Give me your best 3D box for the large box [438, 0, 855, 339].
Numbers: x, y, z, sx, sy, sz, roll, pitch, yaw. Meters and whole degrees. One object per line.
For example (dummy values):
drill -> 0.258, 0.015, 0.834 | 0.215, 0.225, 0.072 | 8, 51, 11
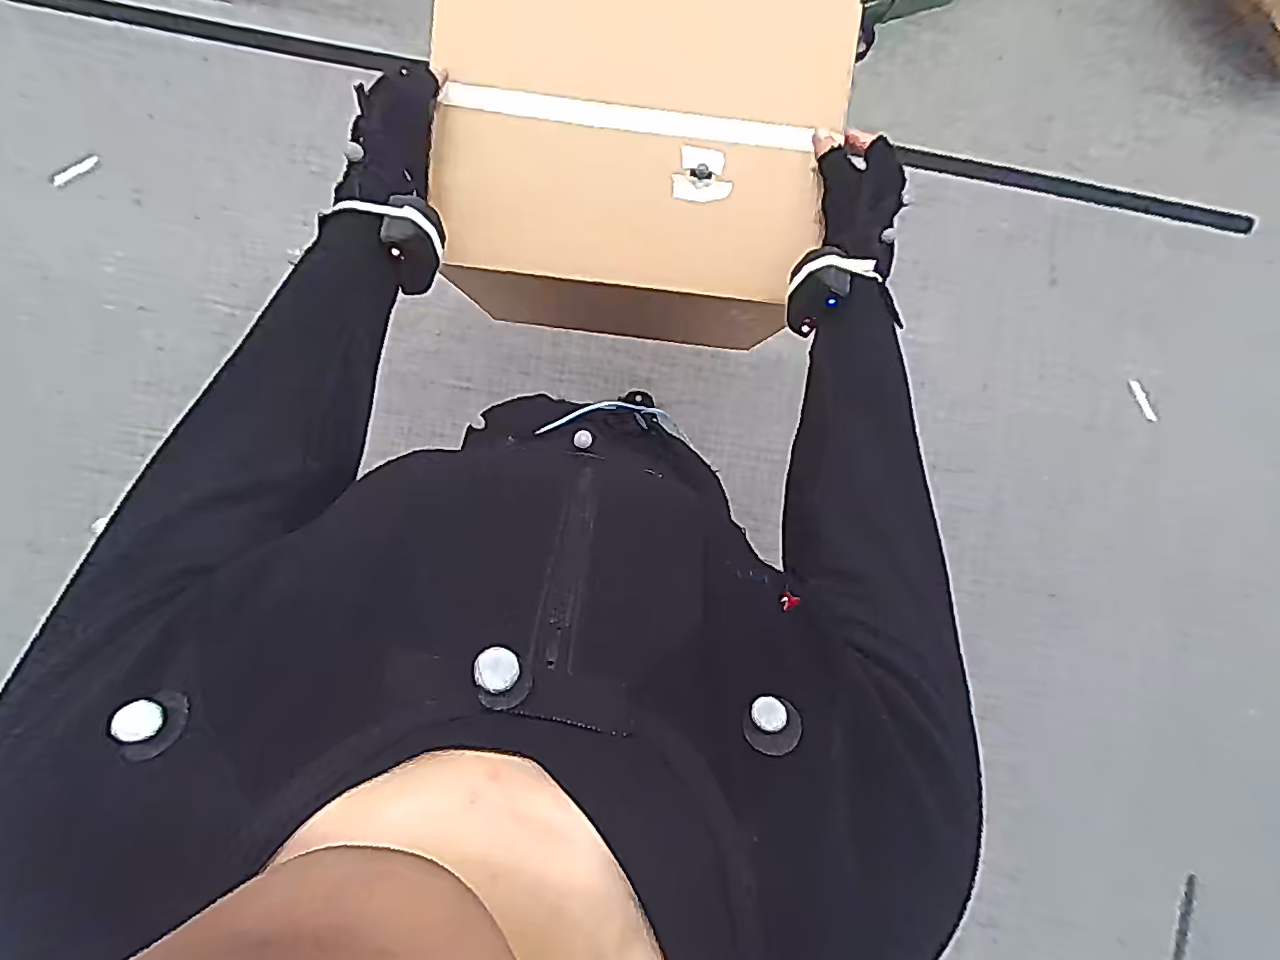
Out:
large box -> -0.003, -0.375, 0.687 | 0.408, 0.320, 0.320 | 6, 96, -3
